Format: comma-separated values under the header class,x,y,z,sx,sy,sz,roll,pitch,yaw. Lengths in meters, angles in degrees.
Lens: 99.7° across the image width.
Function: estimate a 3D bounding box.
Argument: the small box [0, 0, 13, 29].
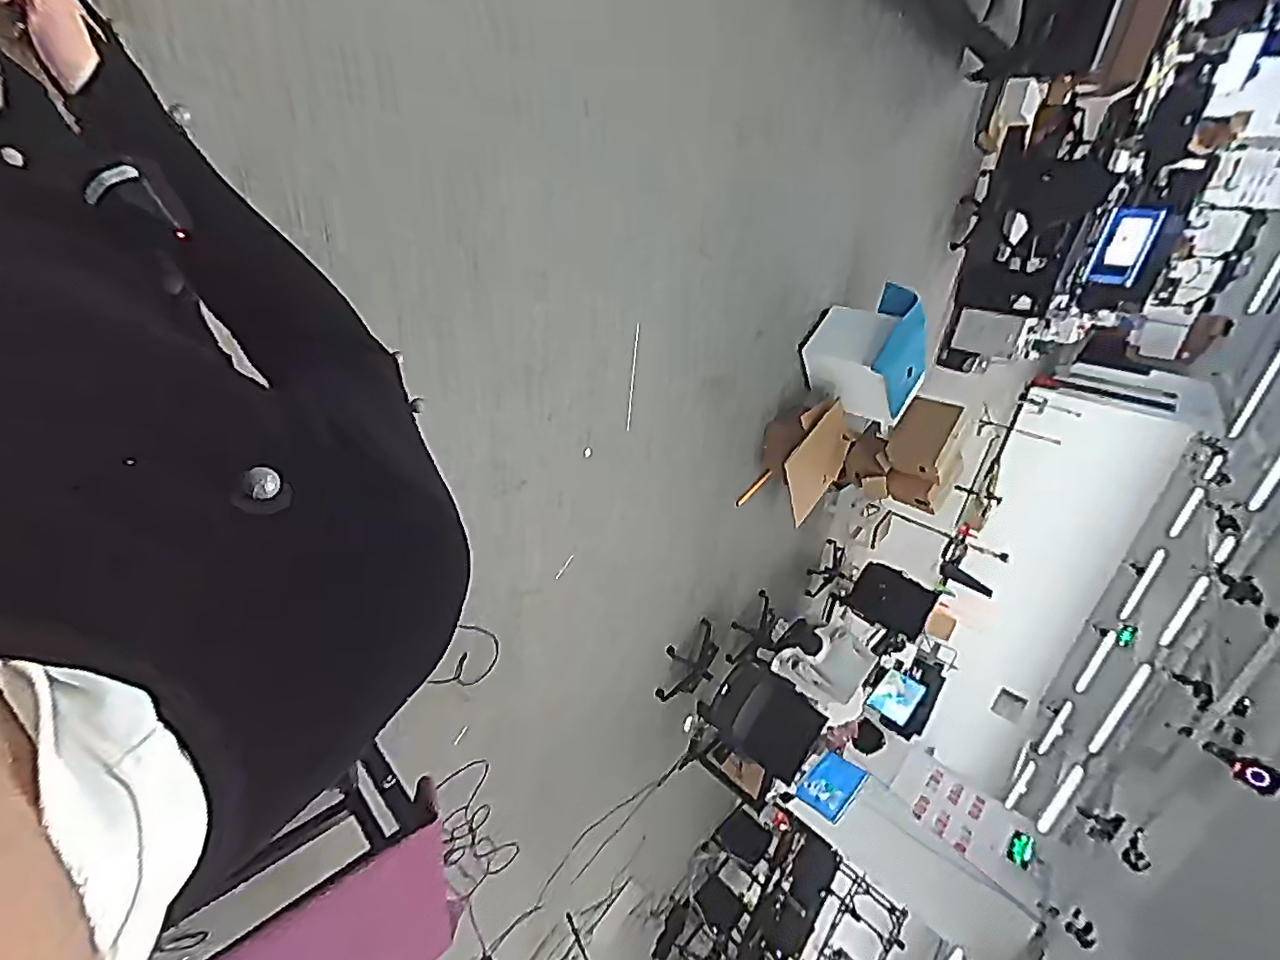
class,x,y,z,sx,sy,sz,roll,pitch,yaw
small box,-0.498,-0.404,0.308,0.168,0.176,0.179,-9,116,-45
